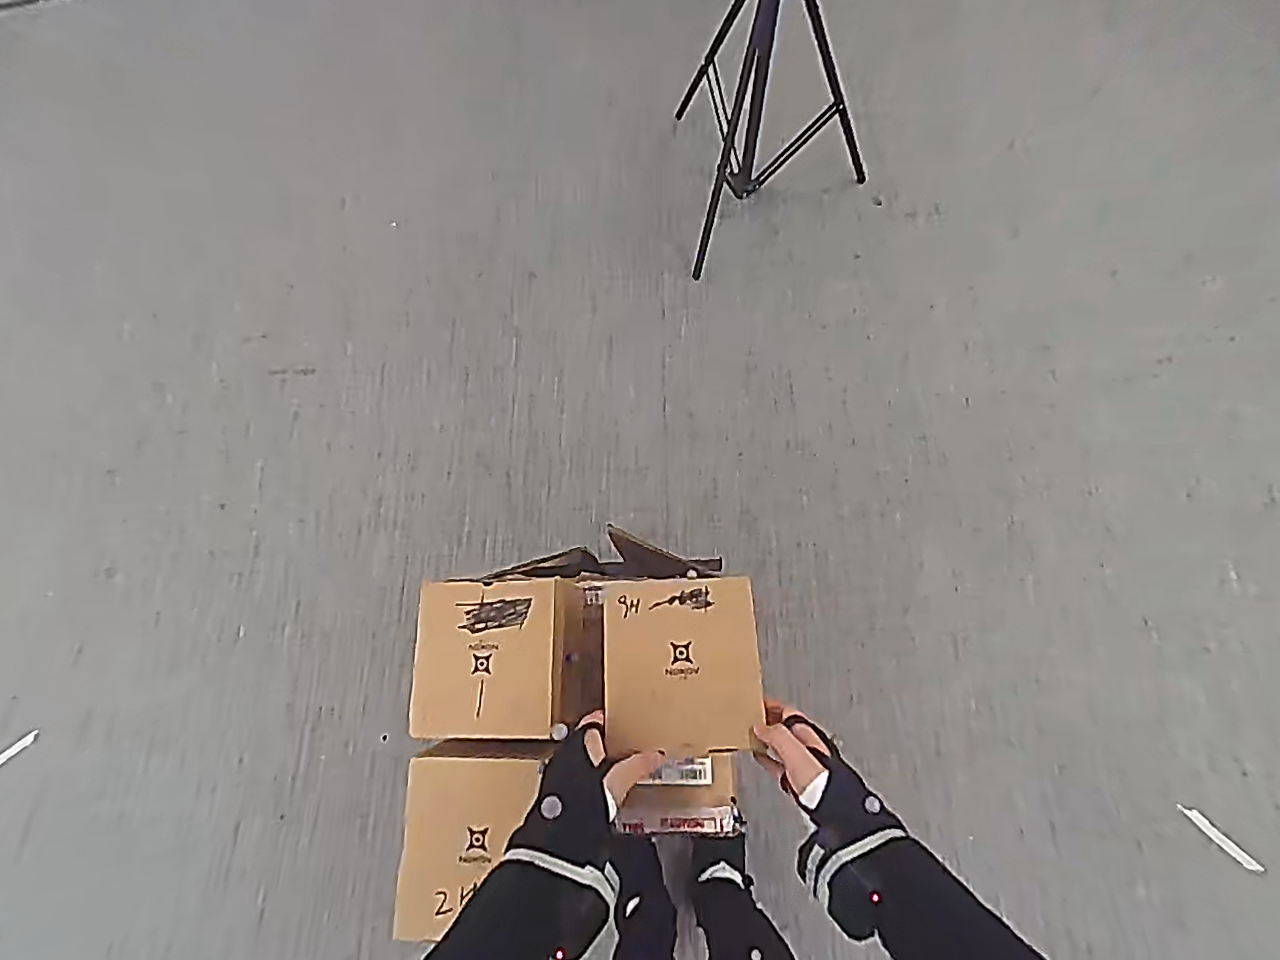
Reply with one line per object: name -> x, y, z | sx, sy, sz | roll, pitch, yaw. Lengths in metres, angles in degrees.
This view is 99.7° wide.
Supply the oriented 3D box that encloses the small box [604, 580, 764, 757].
small box -> 0.052, 0.224, 0.649 | 0.168, 0.176, 0.179 | -4, 69, 5
